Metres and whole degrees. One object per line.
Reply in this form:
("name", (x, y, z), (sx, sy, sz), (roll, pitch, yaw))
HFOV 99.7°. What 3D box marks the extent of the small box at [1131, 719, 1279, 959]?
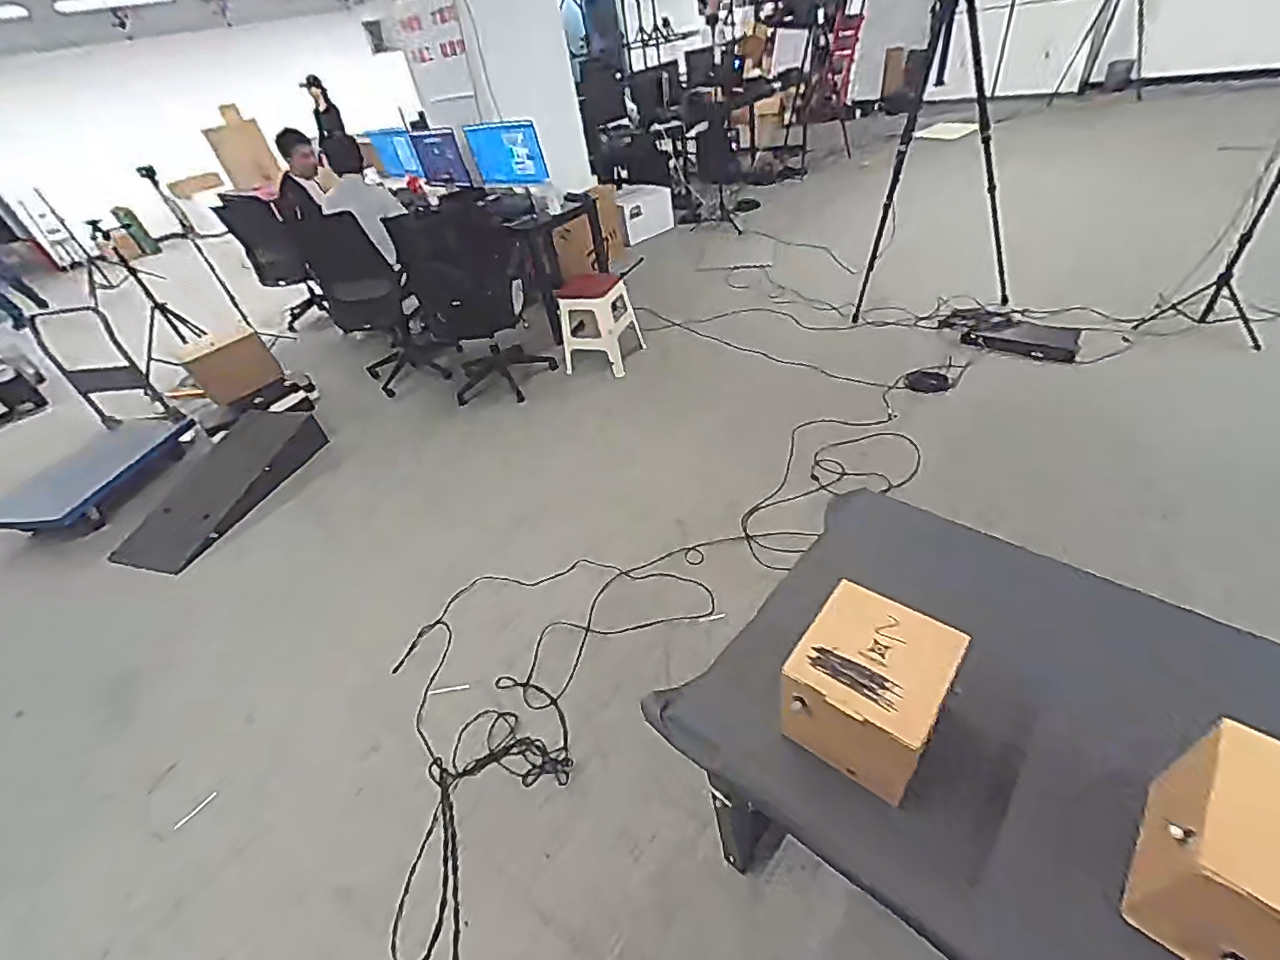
("small box", (0.621, 0.381, 0.521), (0.168, 0.176, 0.179), (25, 52, 36))
